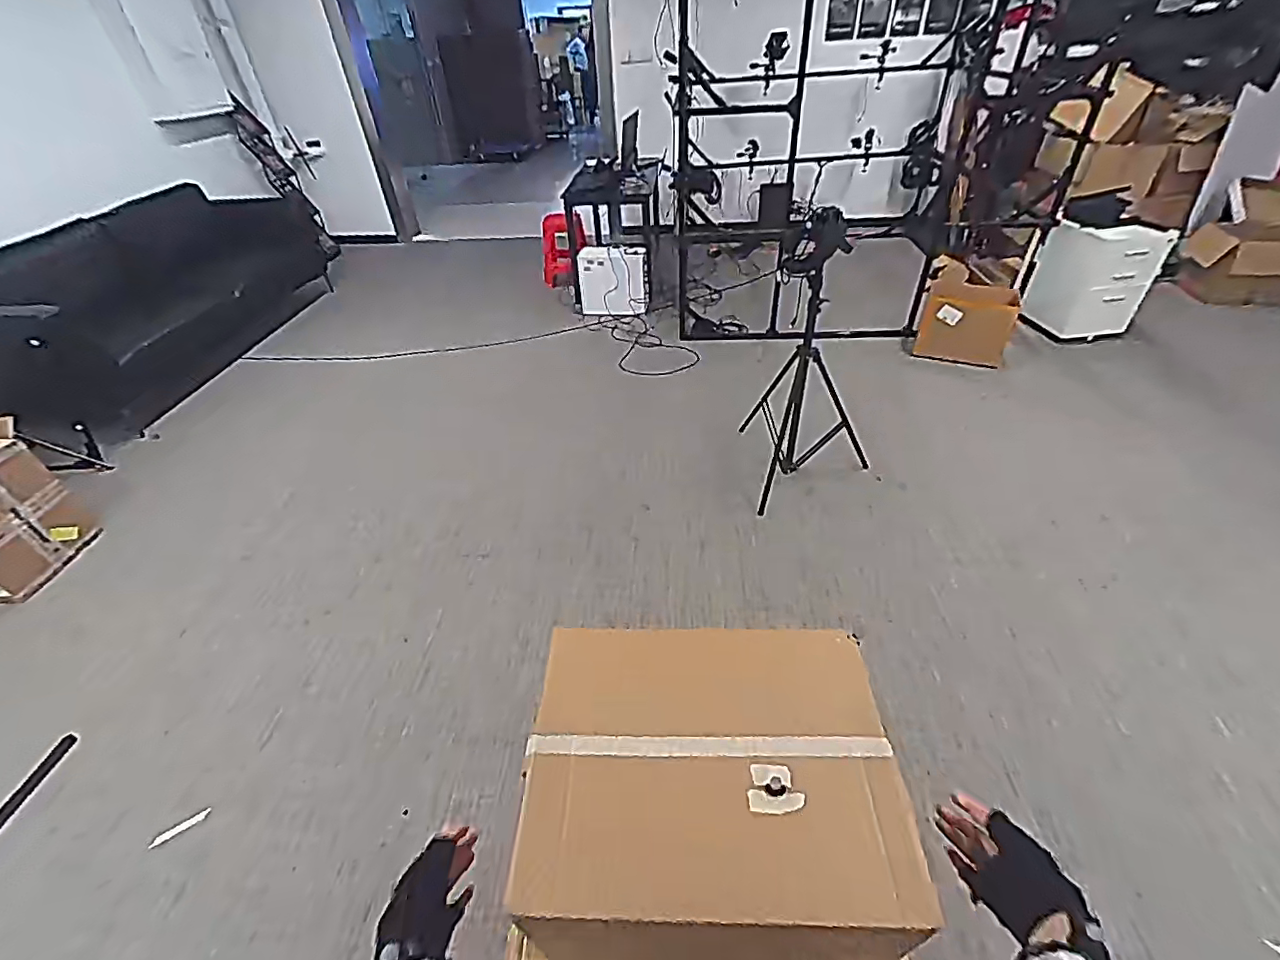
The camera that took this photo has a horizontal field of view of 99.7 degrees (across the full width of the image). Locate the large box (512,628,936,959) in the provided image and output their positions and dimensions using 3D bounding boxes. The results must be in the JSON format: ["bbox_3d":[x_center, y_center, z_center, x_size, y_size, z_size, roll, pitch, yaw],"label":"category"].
[{"bbox_3d":[0.081,0.414,0.707,0.408,0.320,0.320,-1,41,2],"label":"large box"}]
